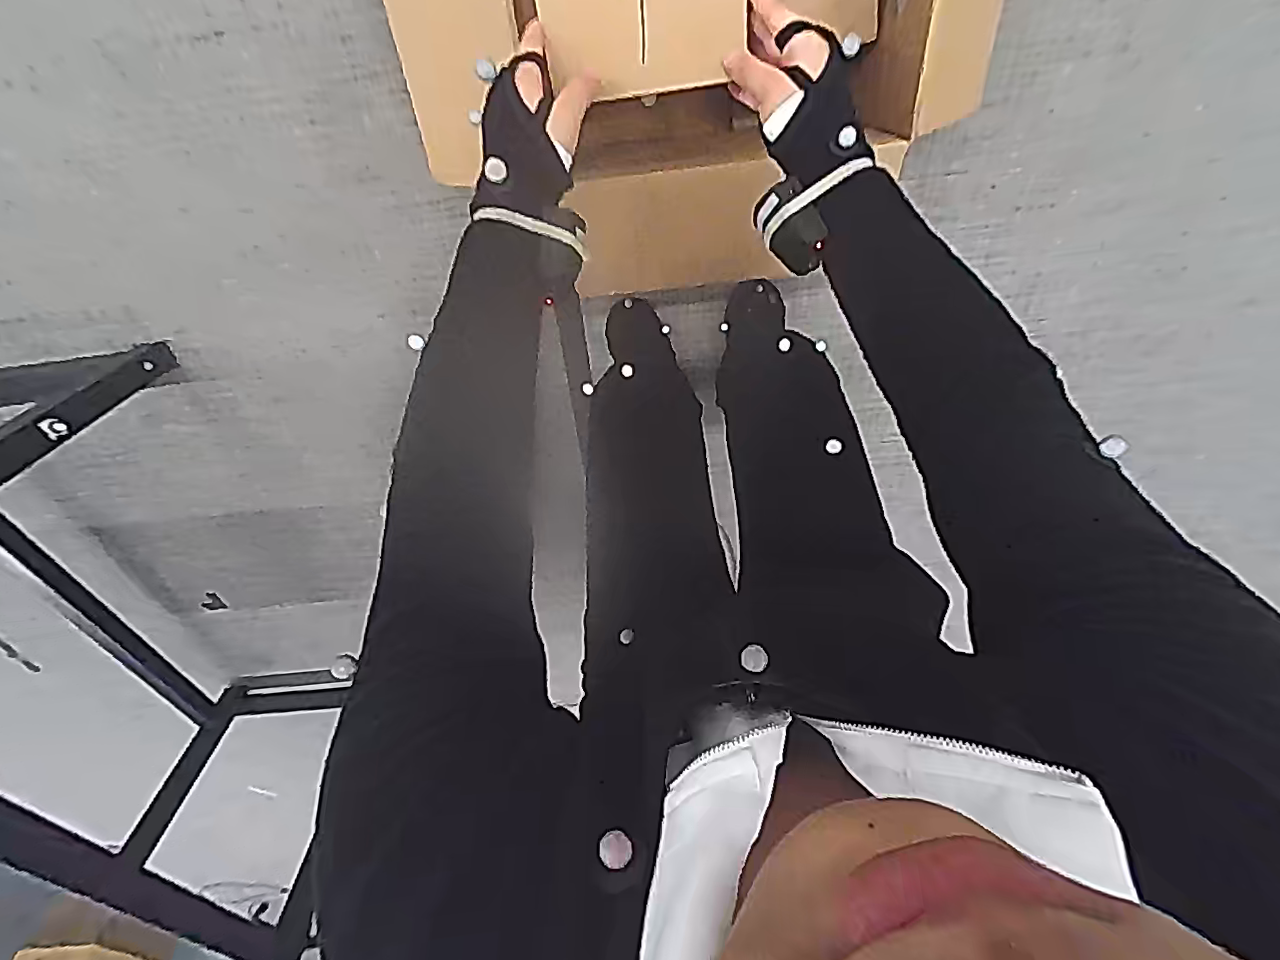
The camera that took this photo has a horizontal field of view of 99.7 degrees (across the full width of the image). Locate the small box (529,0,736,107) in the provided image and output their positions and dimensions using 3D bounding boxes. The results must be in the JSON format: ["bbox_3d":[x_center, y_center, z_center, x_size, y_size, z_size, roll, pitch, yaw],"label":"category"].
[{"bbox_3d":[-0.006,-0.448,0.475,0.168,0.176,0.179,-3,130,7],"label":"small box"}]

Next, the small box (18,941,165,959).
[{"bbox_3d":[-1.029,0.949,0.966,0.168,0.176,0.179,-11,128,8],"label":"small box"}]
